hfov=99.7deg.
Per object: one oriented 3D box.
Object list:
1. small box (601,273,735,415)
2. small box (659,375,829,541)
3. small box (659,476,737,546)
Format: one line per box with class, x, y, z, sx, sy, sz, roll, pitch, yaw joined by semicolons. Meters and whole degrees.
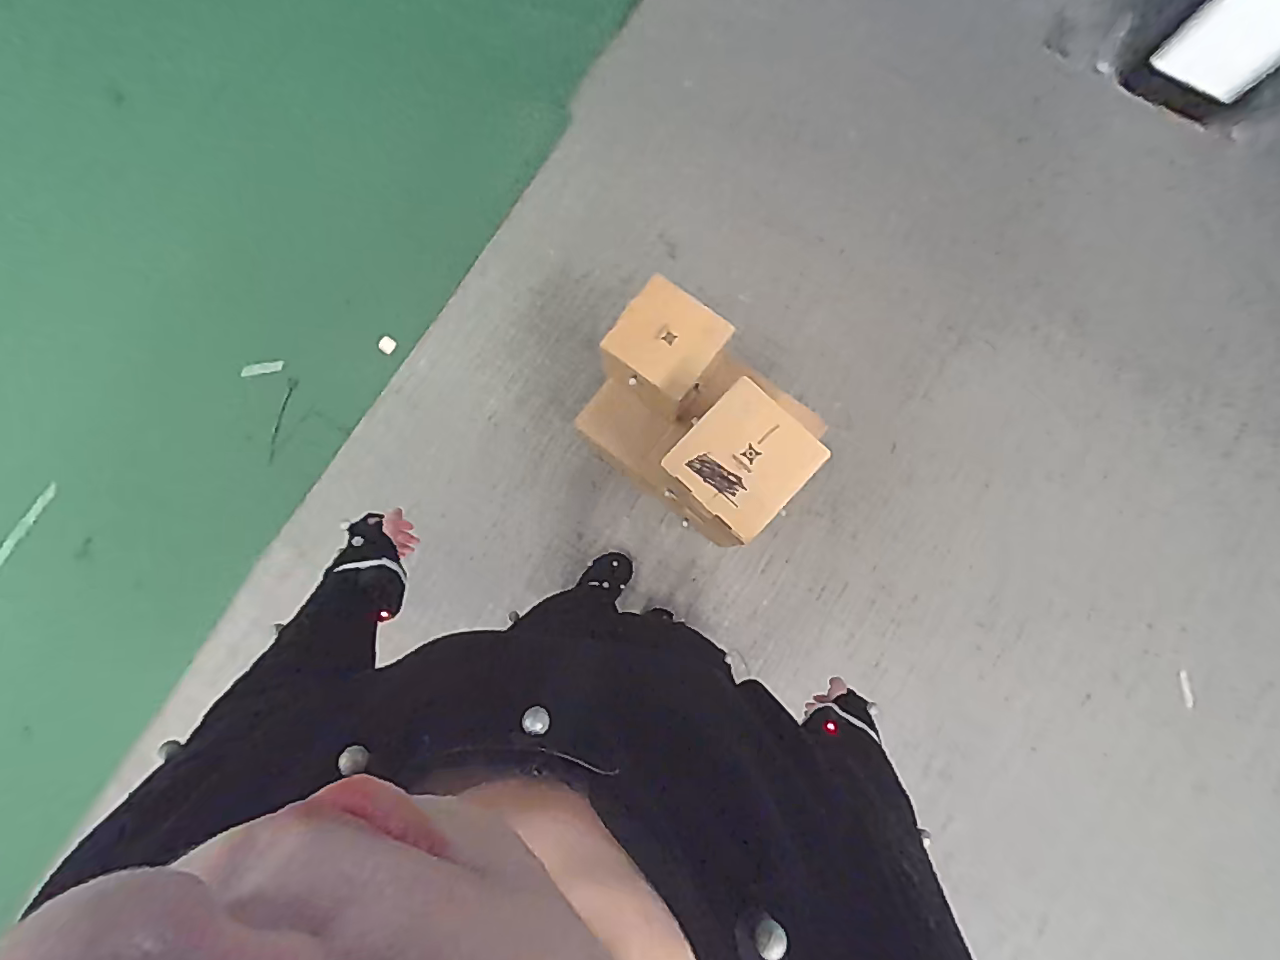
small box;0.051;-0.239;1.010;0.179;0.176;0.168;38;85;5
small box;0.145;-0.020;0.818;0.168;0.176;0.179;44;84;5
small box;0.145;0.003;0.981;0.168;0.176;0.179;40;85;6
